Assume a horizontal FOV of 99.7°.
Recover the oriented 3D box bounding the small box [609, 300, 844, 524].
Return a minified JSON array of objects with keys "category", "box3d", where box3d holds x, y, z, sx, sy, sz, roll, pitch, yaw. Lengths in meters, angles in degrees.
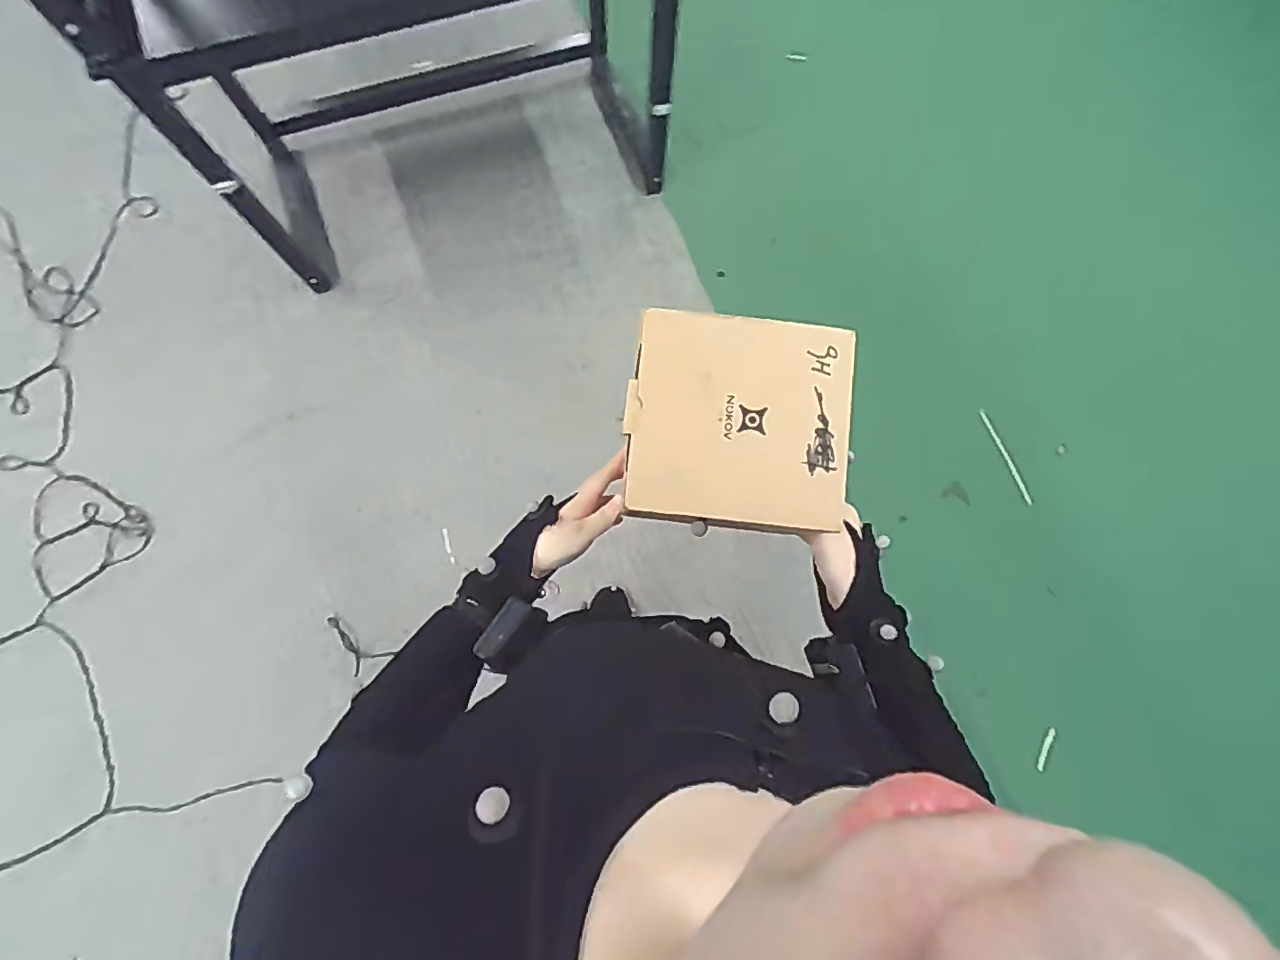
[{"category":"small box","box3d":[0.069,-0.049,0.506,0.179,0.176,0.168,6,85,0]}]
